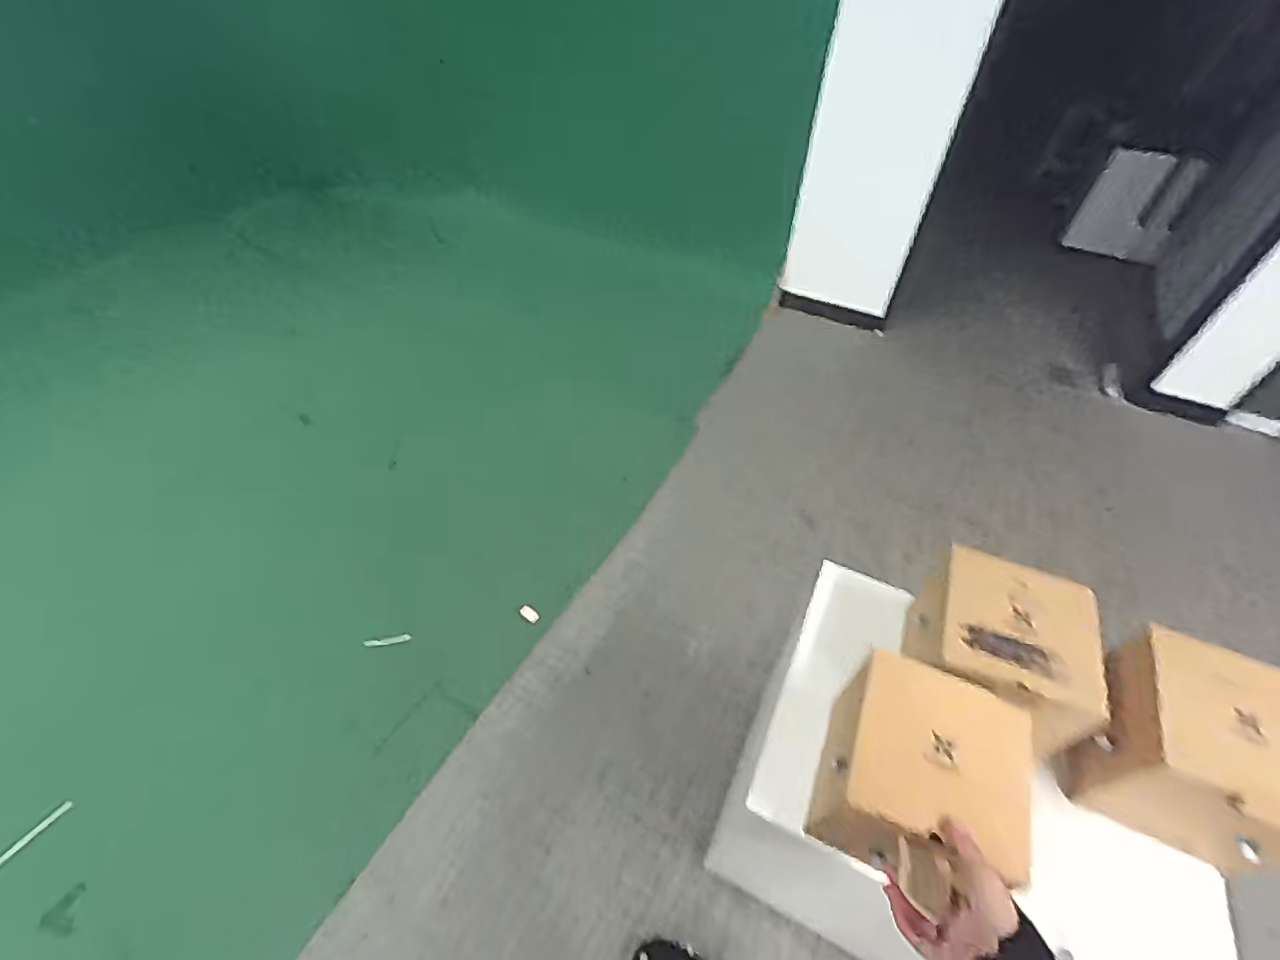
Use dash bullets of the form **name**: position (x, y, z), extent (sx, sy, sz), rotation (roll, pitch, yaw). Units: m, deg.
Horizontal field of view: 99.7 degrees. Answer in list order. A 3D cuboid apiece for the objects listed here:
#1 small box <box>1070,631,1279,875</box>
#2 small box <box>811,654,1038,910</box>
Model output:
- **small box**: position (0.632, 0.314, 0.619), extent (0.168, 0.176, 0.179), rotation (21, 51, 17)
- **small box**: position (0.304, 0.334, 0.600), extent (0.168, 0.176, 0.179), rotation (20, 50, 16)
